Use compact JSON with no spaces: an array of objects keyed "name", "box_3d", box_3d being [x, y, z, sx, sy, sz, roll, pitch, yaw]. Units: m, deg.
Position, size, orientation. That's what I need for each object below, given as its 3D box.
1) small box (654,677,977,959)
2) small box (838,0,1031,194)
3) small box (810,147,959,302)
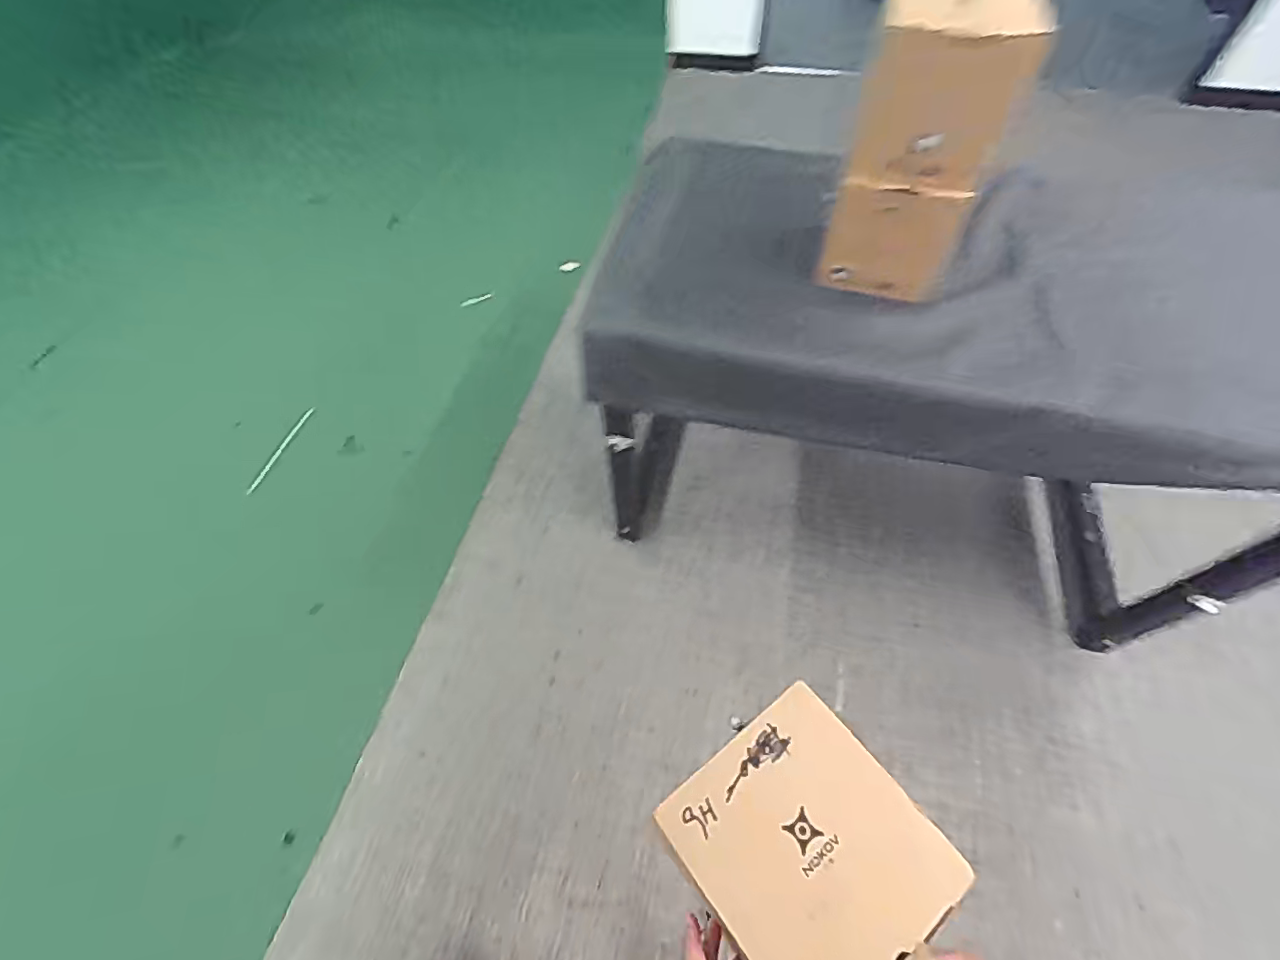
[{"name":"small box","box_3d":[0.127,0.306,0.464,0.168,0.176,0.179,-32,62,-20]},{"name":"small box","box_3d":[0.369,-0.508,0.709,0.168,0.176,0.179,12,57,10]},{"name":"small box","box_3d":[0.370,-0.403,0.837,0.168,0.176,0.179,14,57,10]}]
